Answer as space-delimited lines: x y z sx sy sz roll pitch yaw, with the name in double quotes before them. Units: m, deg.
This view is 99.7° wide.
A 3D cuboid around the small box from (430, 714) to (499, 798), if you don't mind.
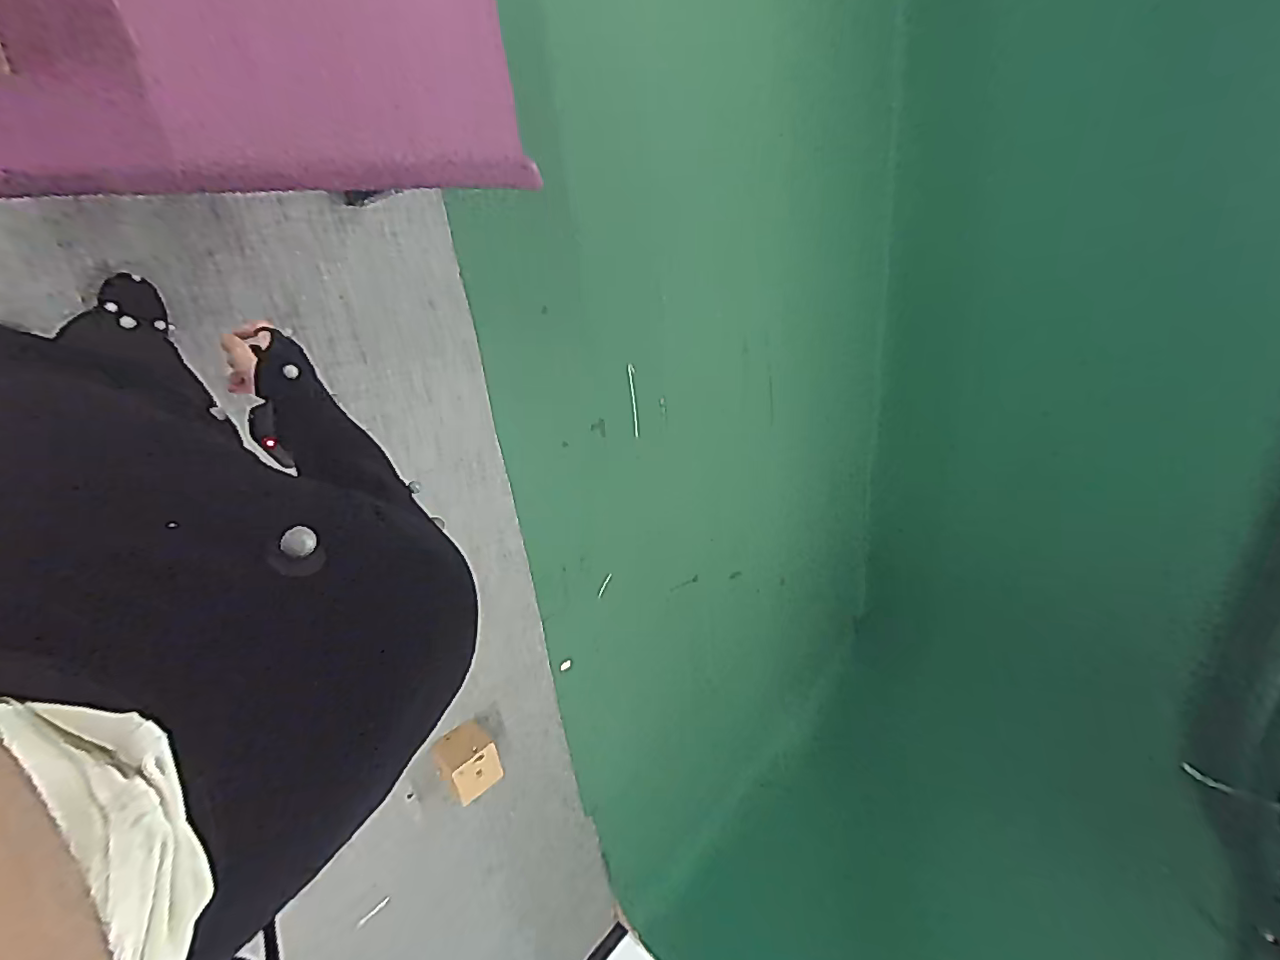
"small box" -0.638 0.996 1.965 0.168 0.176 0.179 -26 121 -38
